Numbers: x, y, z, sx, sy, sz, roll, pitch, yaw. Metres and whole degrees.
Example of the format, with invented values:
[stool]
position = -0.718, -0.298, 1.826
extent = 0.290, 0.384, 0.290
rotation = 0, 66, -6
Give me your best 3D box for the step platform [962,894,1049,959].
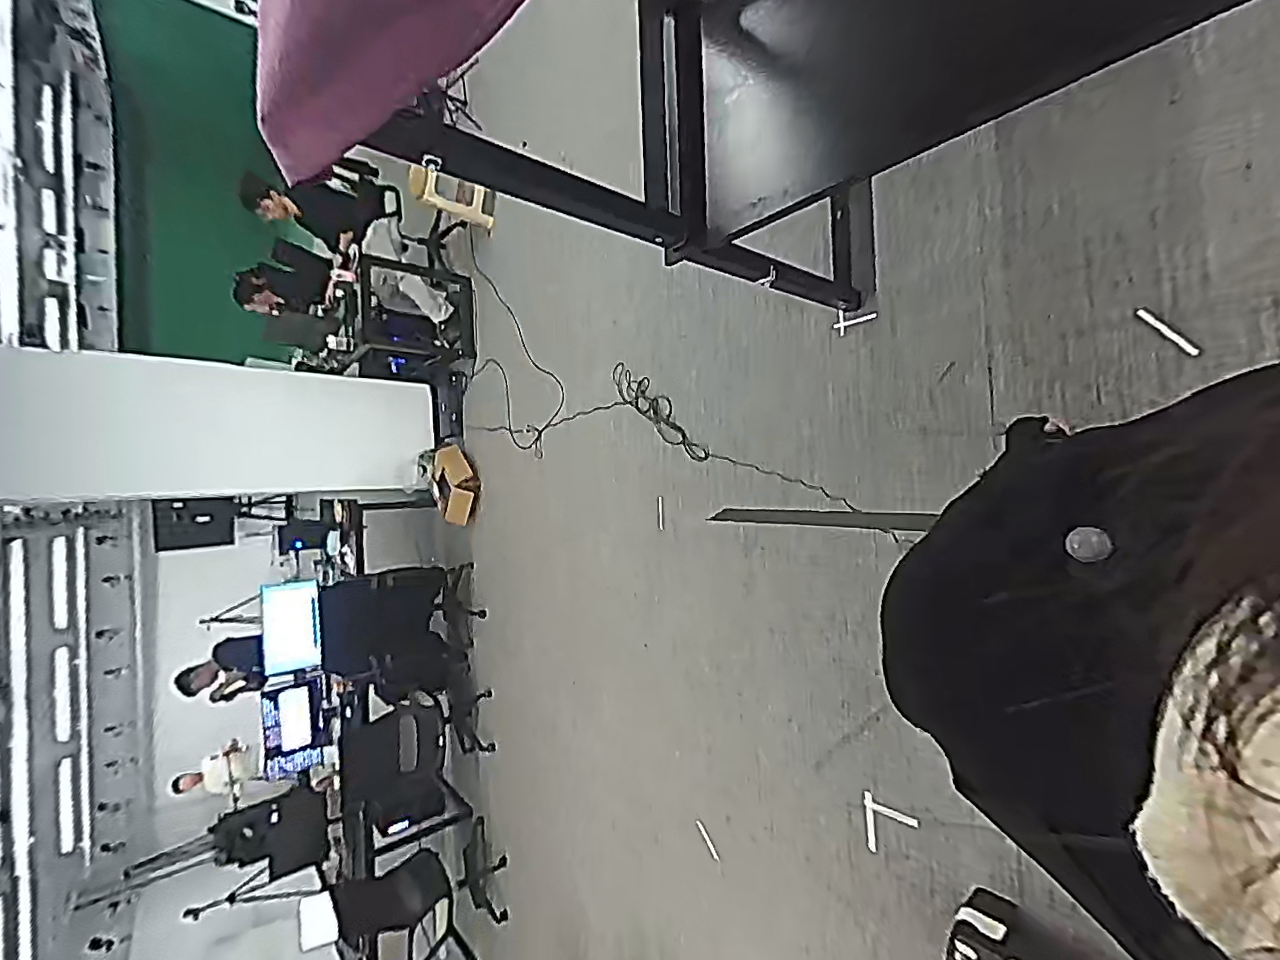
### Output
[step platform]
position = 1.019, 1.199, 1.067
extent = 0.684, 0.204, 0.286
rotation = 7, 96, 49
